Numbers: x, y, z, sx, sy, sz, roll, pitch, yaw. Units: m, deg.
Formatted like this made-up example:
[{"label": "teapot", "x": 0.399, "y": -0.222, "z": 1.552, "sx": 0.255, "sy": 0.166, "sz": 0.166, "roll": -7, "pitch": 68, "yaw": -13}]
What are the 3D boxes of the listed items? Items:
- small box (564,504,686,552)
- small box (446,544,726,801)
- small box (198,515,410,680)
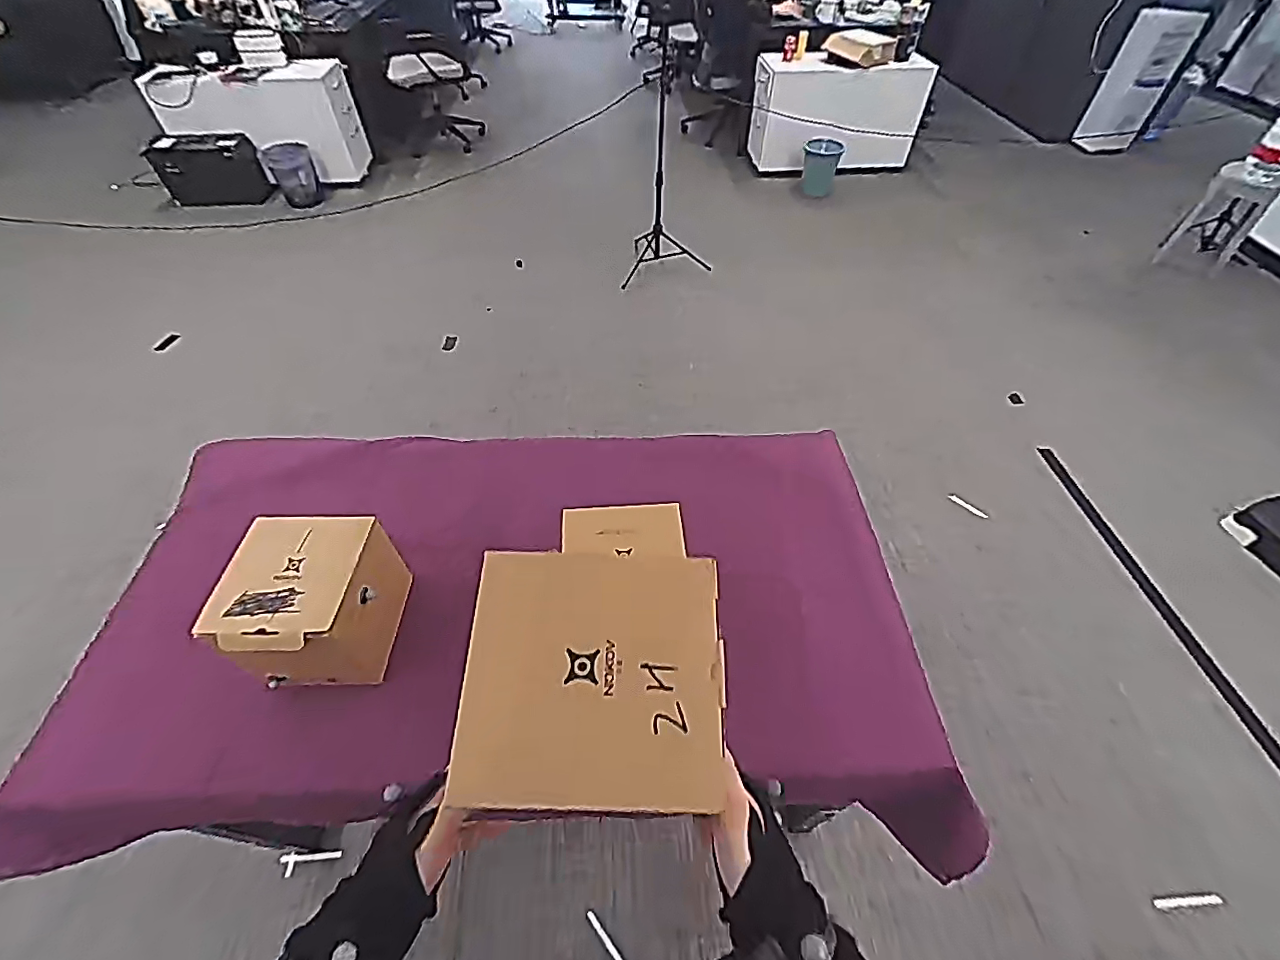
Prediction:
[{"label": "small box", "x": -0.019, "y": 0.155, "z": 0.767, "sx": 0.168, "sy": 0.176, "sz": 0.179, "roll": -2, "pitch": 50, "yaw": -3}, {"label": "small box", "x": -0.033, "y": 0.162, "z": 0.439, "sx": 0.179, "sy": 0.176, "sz": 0.168, "roll": 3, "pitch": 61, "yaw": -2}, {"label": "small box", "x": -0.443, "y": 0.167, "z": 0.753, "sx": 0.168, "sy": 0.176, "sz": 0.179, "roll": 0, "pitch": 49, "yaw": 0}]
